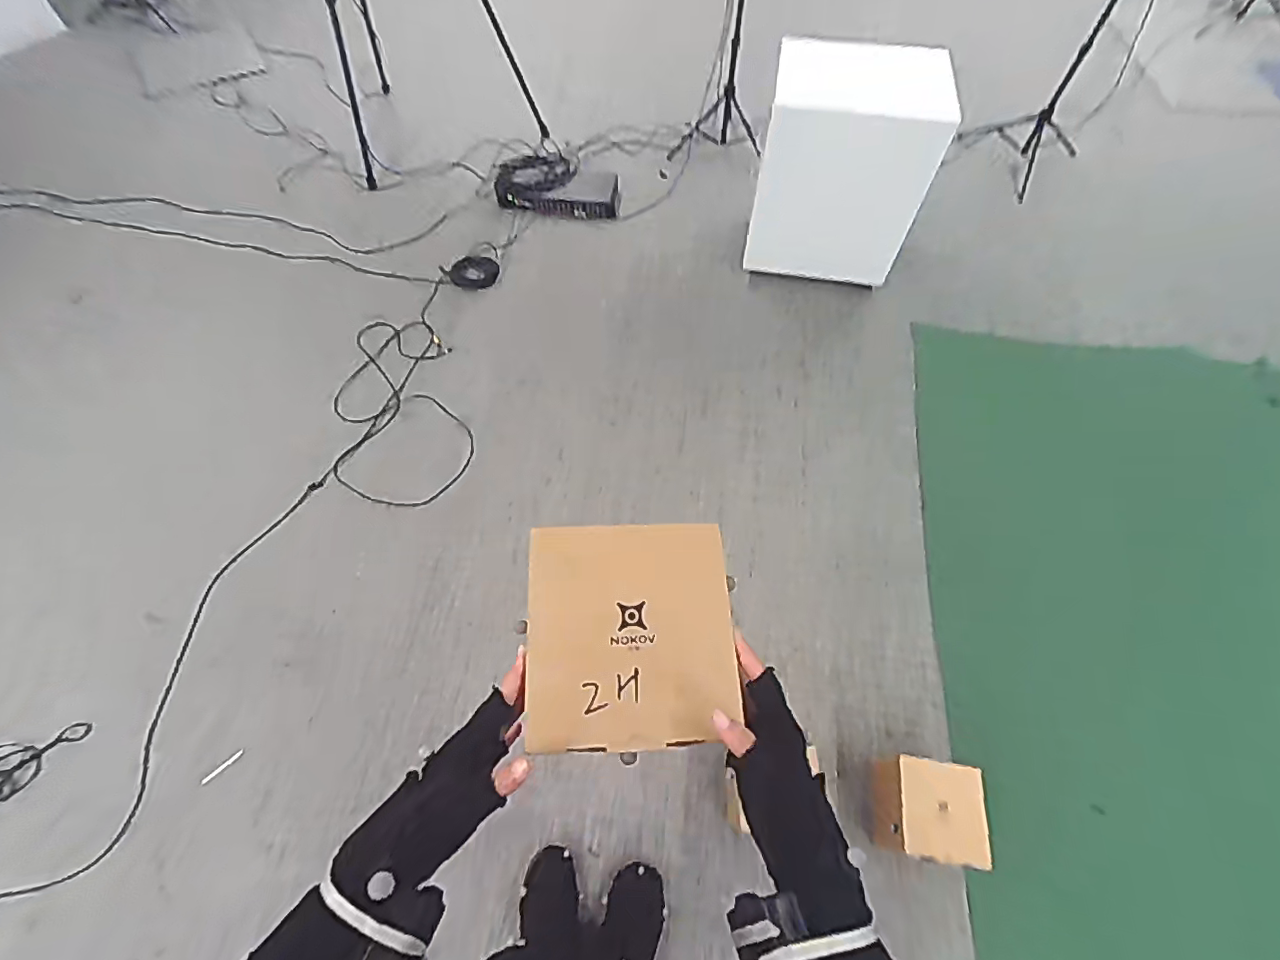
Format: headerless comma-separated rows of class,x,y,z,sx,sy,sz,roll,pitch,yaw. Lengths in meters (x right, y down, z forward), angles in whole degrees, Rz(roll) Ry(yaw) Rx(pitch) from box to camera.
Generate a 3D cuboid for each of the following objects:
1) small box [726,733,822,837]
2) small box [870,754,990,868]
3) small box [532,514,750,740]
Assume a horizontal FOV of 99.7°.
small box,0.281,0.653,1.166,0.168,0.176,0.179,4,60,1
small box,0.601,0.695,1.148,0.168,0.176,0.179,8,61,5
small box,-0.007,0.143,0.506,0.168,0.176,0.179,-1,65,-5
